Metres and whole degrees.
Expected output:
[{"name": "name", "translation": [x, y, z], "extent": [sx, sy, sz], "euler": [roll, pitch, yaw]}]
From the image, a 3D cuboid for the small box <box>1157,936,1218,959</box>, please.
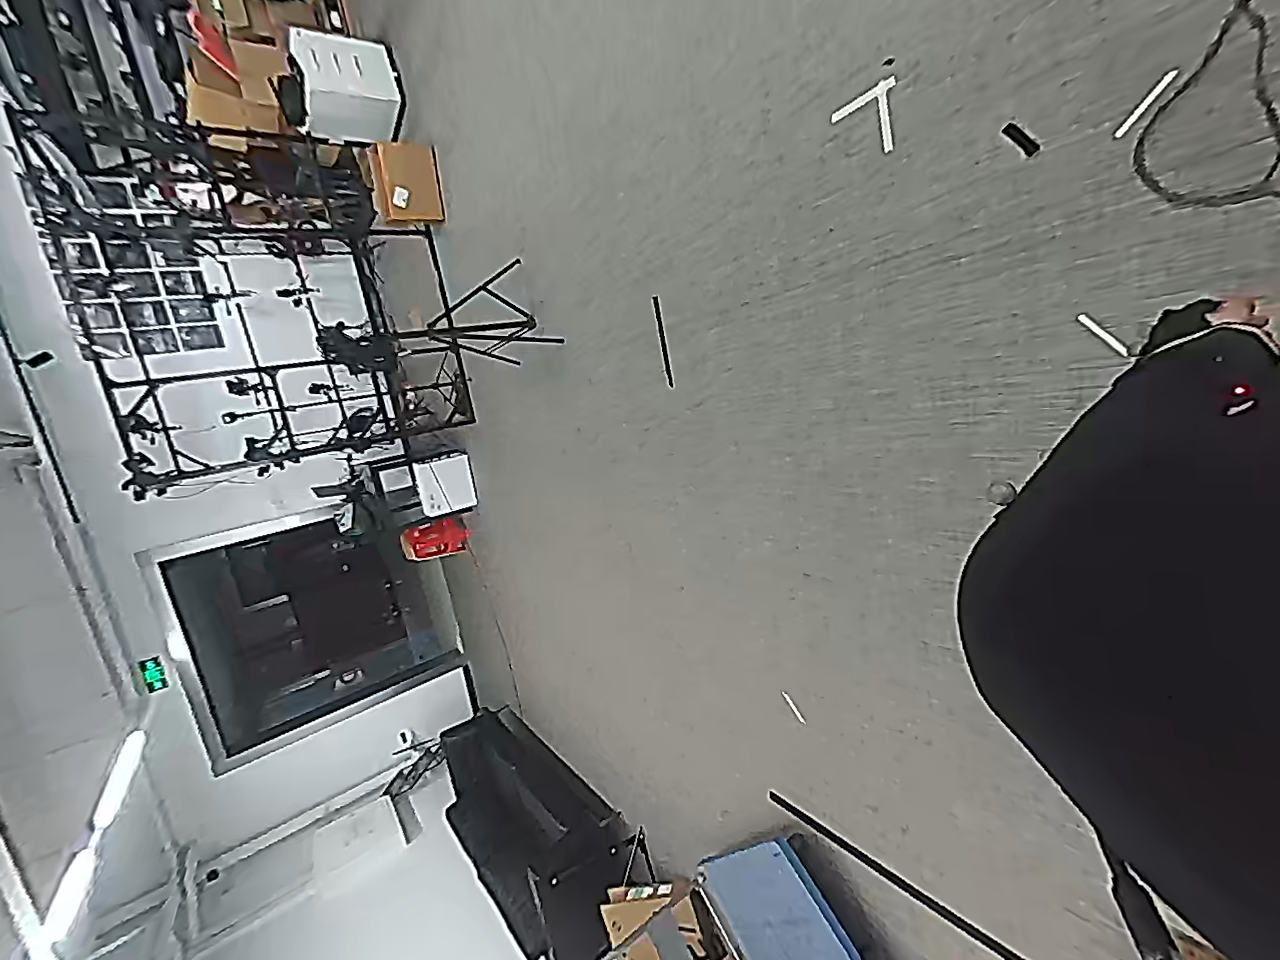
[{"name": "small box", "translation": [1.220, 1.157, 1.159], "extent": [0.168, 0.176, 0.179], "euler": [5, 108, 56]}]
